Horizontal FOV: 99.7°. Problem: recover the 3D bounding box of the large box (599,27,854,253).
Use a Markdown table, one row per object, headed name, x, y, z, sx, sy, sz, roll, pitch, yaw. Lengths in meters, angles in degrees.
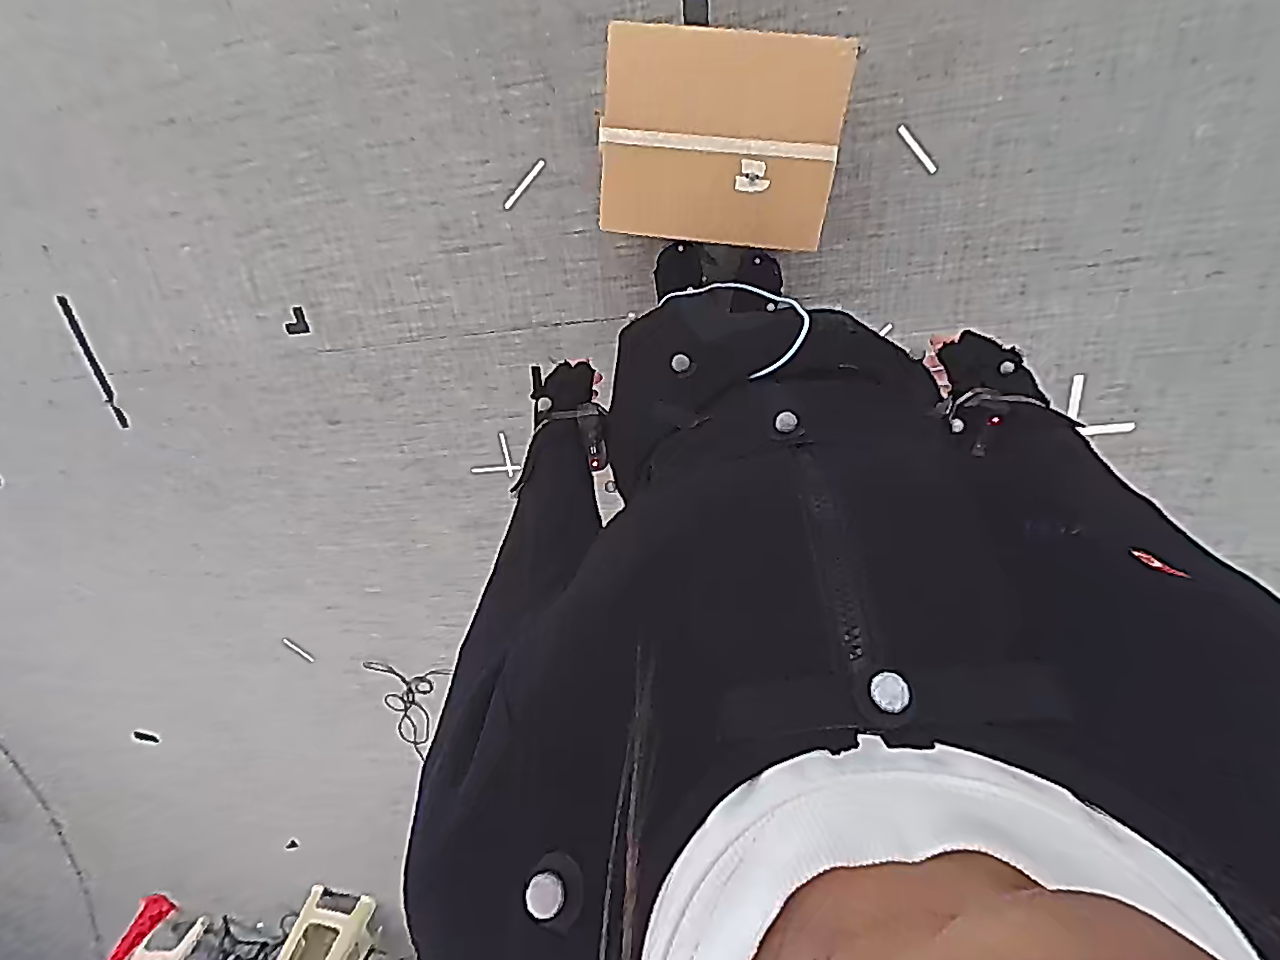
| name | x | y | z | sx | sy | sz | roll | pitch | yaw |
| --- | --- | --- | --- | --- | --- | --- | --- | --- | --- |
| large box | 0.145 | -0.637 | 1.060 | 0.408 | 0.320 | 0.320 | 8 | 118 | 4 |
